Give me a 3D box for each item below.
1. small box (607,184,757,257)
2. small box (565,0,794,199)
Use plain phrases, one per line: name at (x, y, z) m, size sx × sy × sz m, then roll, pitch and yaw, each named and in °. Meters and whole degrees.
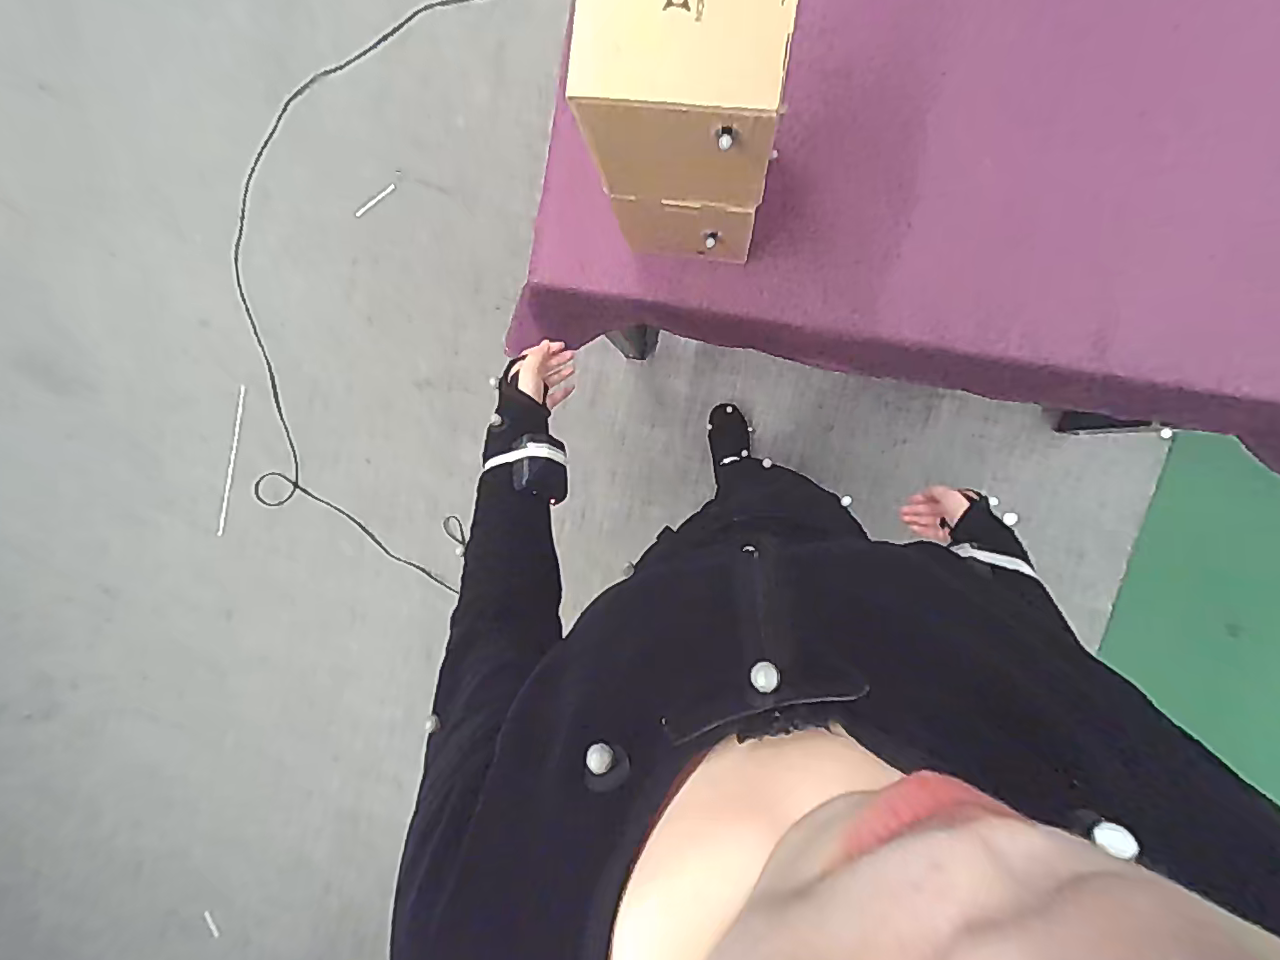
small box at (0.066, -0.395, 0.667) m, size 0.168 × 0.176 × 0.179 m, roll 10°, pitch 94°, yaw 6°
small box at (0.042, -0.387, 0.506) m, size 0.179 × 0.176 × 0.168 m, roll 8°, pitch 95°, yaw 5°
